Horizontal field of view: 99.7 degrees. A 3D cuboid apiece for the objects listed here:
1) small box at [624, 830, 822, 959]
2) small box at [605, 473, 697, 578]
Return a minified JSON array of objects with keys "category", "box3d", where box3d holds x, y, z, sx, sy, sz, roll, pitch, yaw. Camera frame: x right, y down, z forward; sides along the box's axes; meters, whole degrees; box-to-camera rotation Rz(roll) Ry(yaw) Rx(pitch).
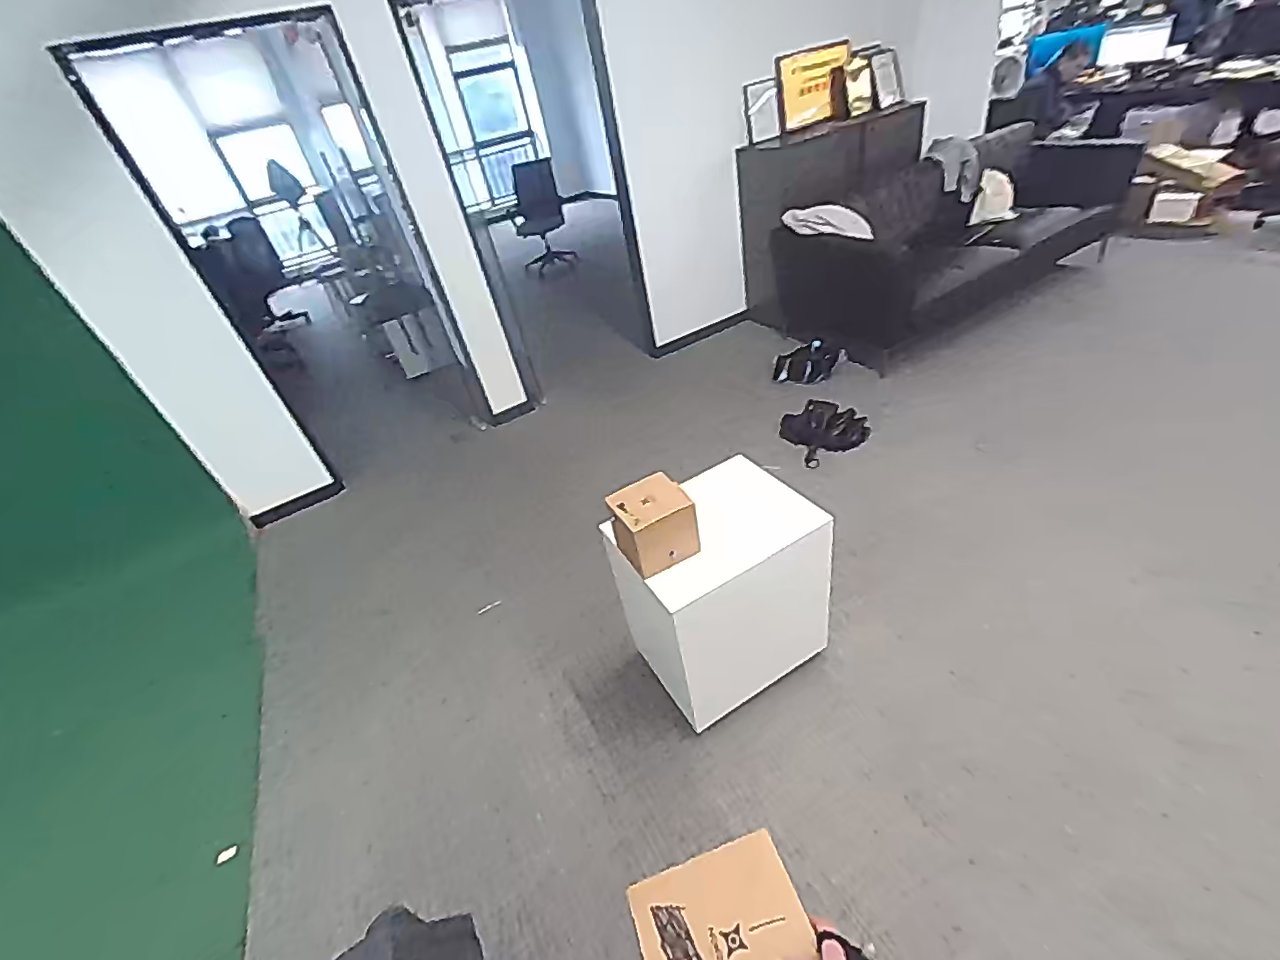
[{"category":"small box","box3d":[0.099,0.530,0.583,0.179,0.176,0.168,-18,32,-7]},{"category":"small box","box3d":[0.033,0.116,1.383,0.179,0.176,0.168,-24,38,-17]}]
